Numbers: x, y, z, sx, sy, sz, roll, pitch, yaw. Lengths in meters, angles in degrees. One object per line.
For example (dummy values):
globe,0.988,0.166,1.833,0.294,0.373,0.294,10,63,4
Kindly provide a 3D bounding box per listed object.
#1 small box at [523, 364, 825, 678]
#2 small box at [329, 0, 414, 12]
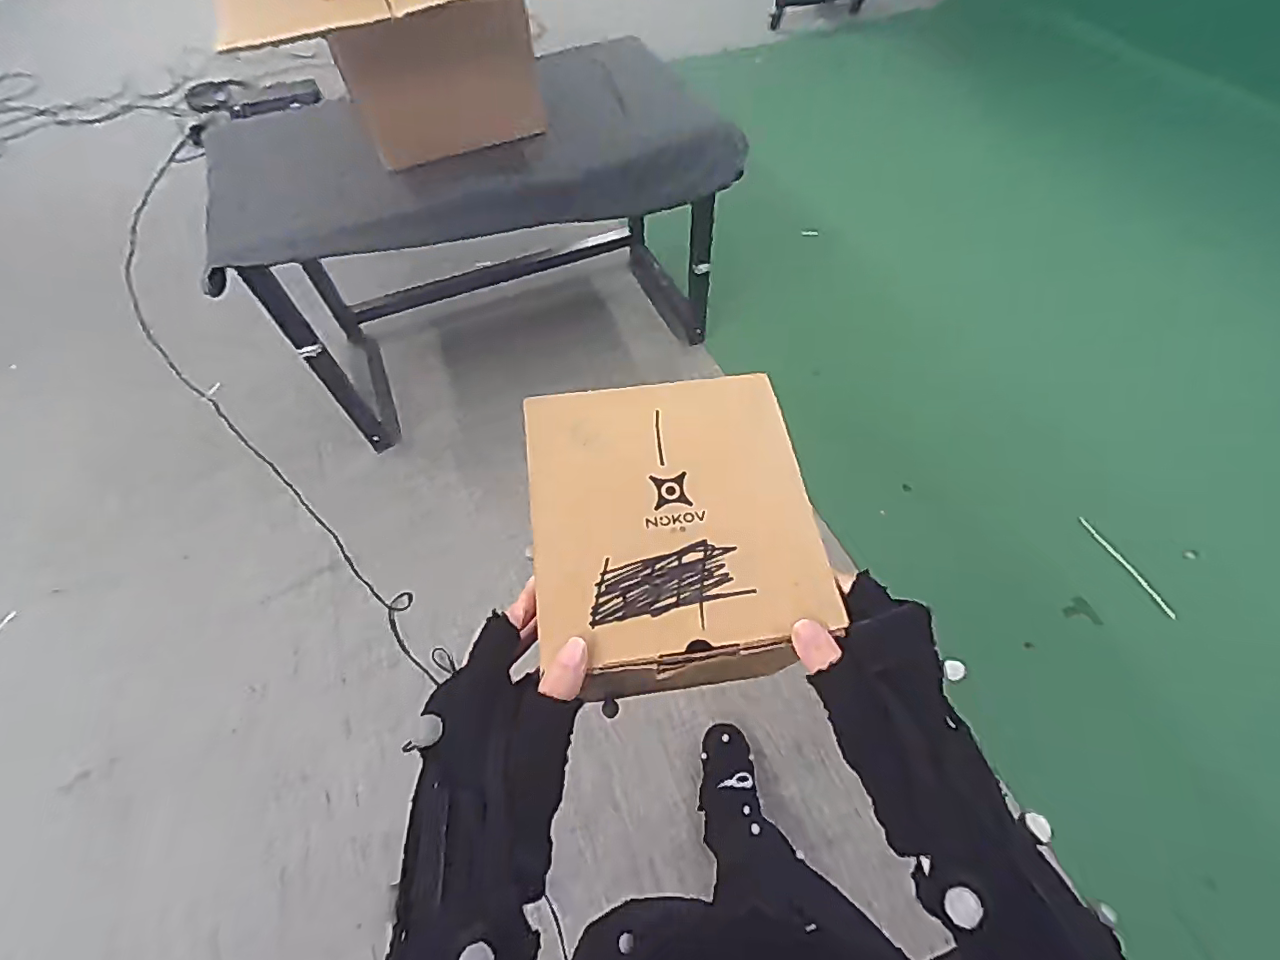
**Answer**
small box,0.012,0.041,0.402,0.168,0.176,0.179,-7,62,-5
small box,-0.529,-1.000,0.993,0.168,0.176,0.179,-20,59,-9
